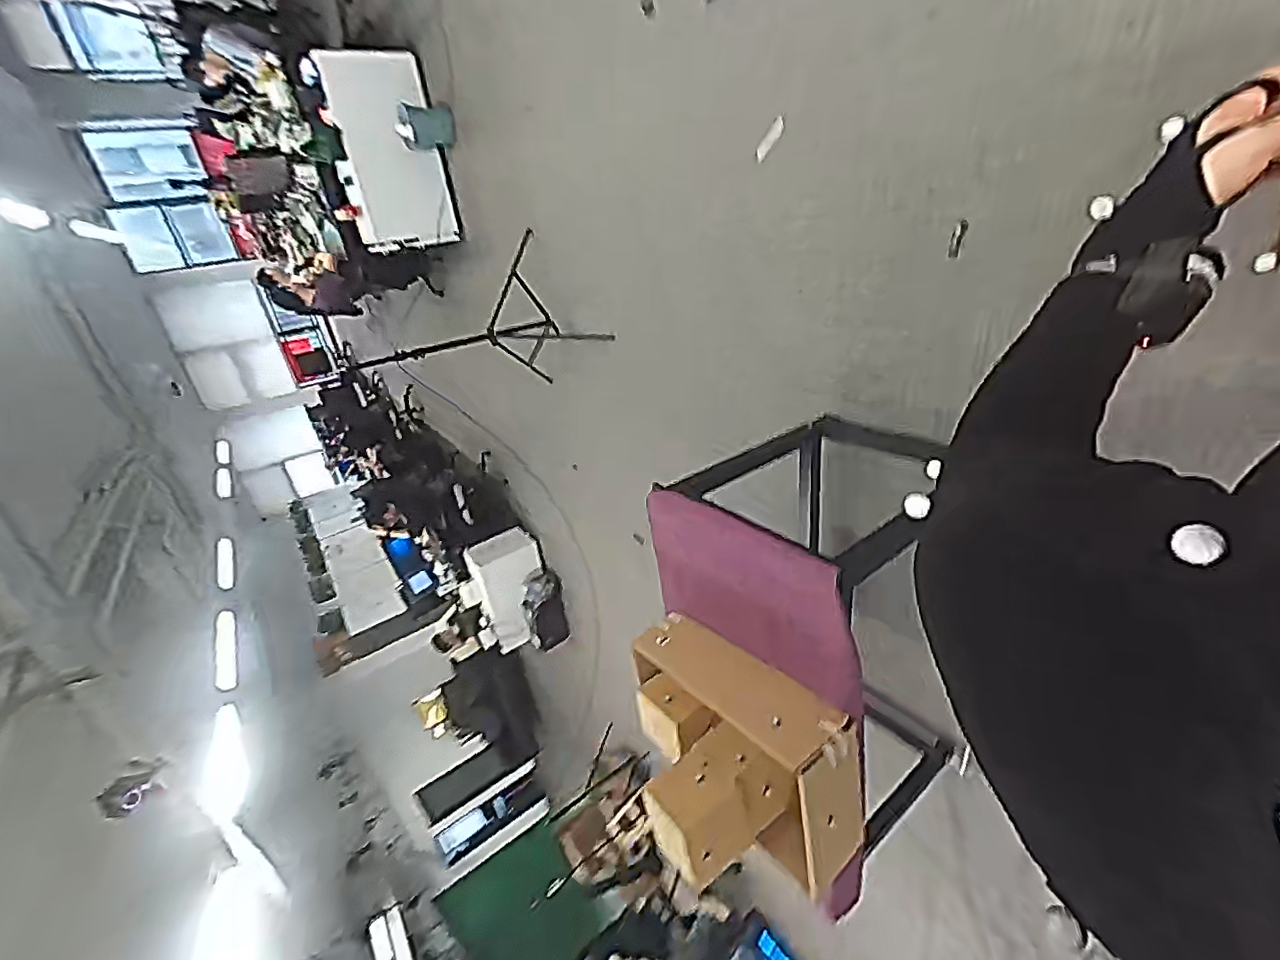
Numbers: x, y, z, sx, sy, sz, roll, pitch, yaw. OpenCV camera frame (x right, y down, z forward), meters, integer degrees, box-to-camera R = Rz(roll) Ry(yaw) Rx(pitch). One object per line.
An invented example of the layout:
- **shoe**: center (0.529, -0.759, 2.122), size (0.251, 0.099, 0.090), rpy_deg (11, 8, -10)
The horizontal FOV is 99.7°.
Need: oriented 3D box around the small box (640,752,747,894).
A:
- **small box**: center (0.128, 0.777, 1.243), size (0.168, 0.176, 0.179), rpy_deg (14, 121, 58)
